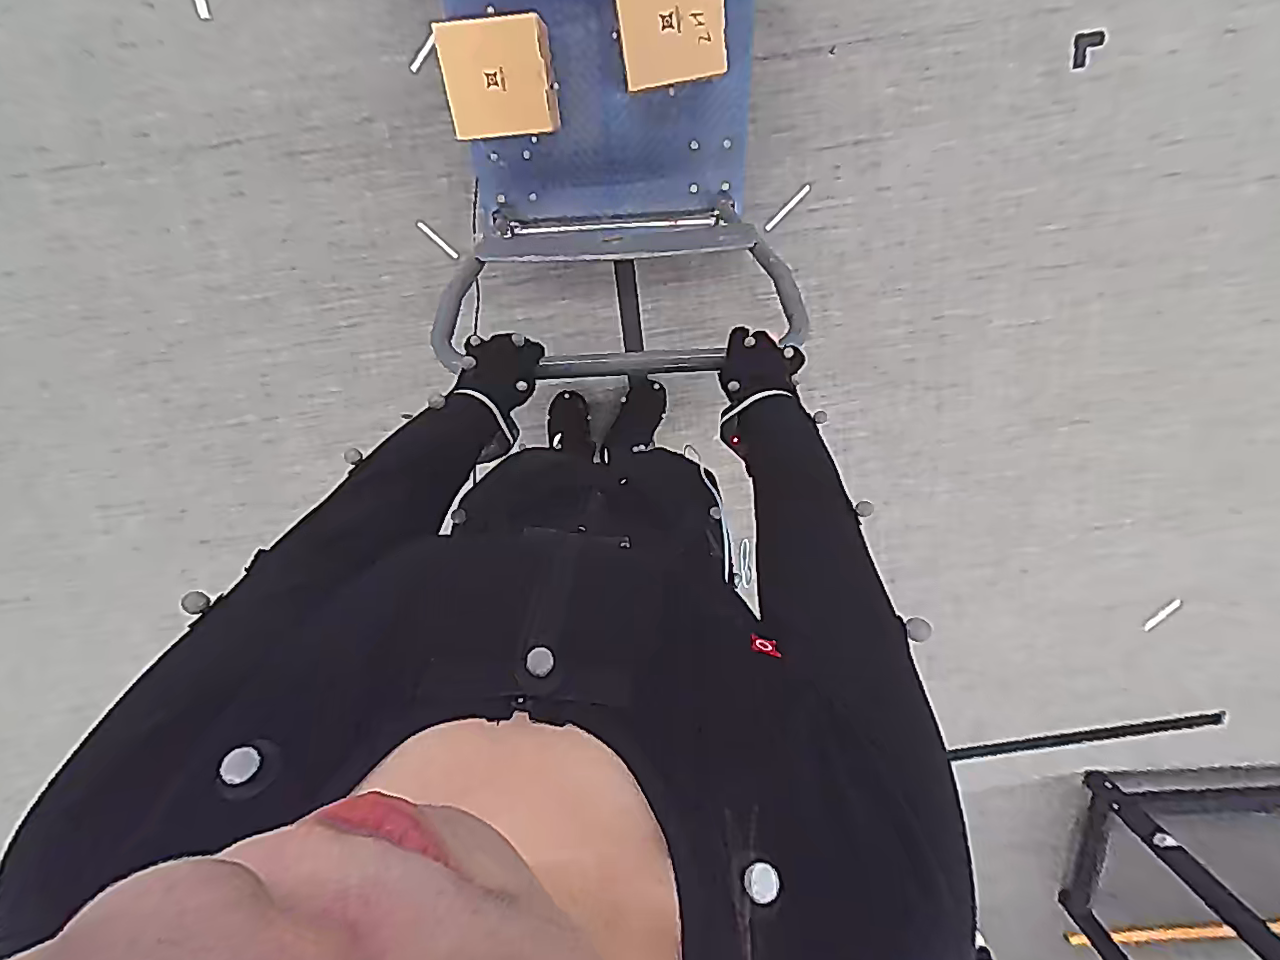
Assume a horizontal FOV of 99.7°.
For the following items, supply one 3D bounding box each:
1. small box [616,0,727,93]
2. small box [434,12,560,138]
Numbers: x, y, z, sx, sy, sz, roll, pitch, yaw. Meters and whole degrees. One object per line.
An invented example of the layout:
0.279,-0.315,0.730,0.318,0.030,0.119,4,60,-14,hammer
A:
0.053,-0.801,0.957,0.179,0.176,0.168,-8,124,4,small box
-0.250,-0.733,0.995,0.179,0.176,0.168,-6,123,0,small box
